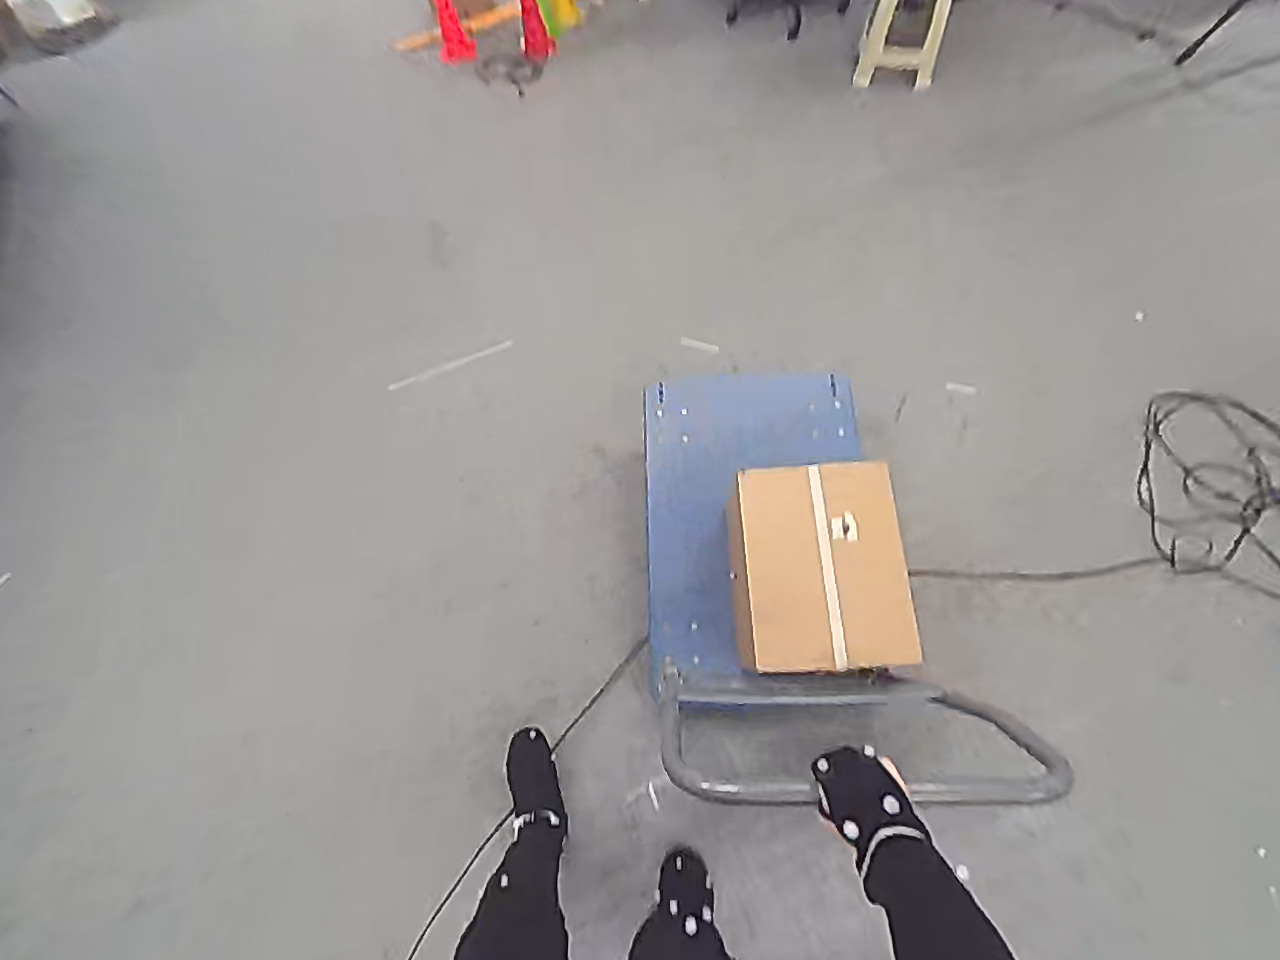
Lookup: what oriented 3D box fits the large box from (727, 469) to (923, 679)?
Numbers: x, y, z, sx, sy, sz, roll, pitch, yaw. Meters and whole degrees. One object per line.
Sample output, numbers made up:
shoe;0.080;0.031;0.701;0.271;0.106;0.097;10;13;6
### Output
large box;0.378;0.222;1.215;0.320;0.320;0.408;-3;72;2
